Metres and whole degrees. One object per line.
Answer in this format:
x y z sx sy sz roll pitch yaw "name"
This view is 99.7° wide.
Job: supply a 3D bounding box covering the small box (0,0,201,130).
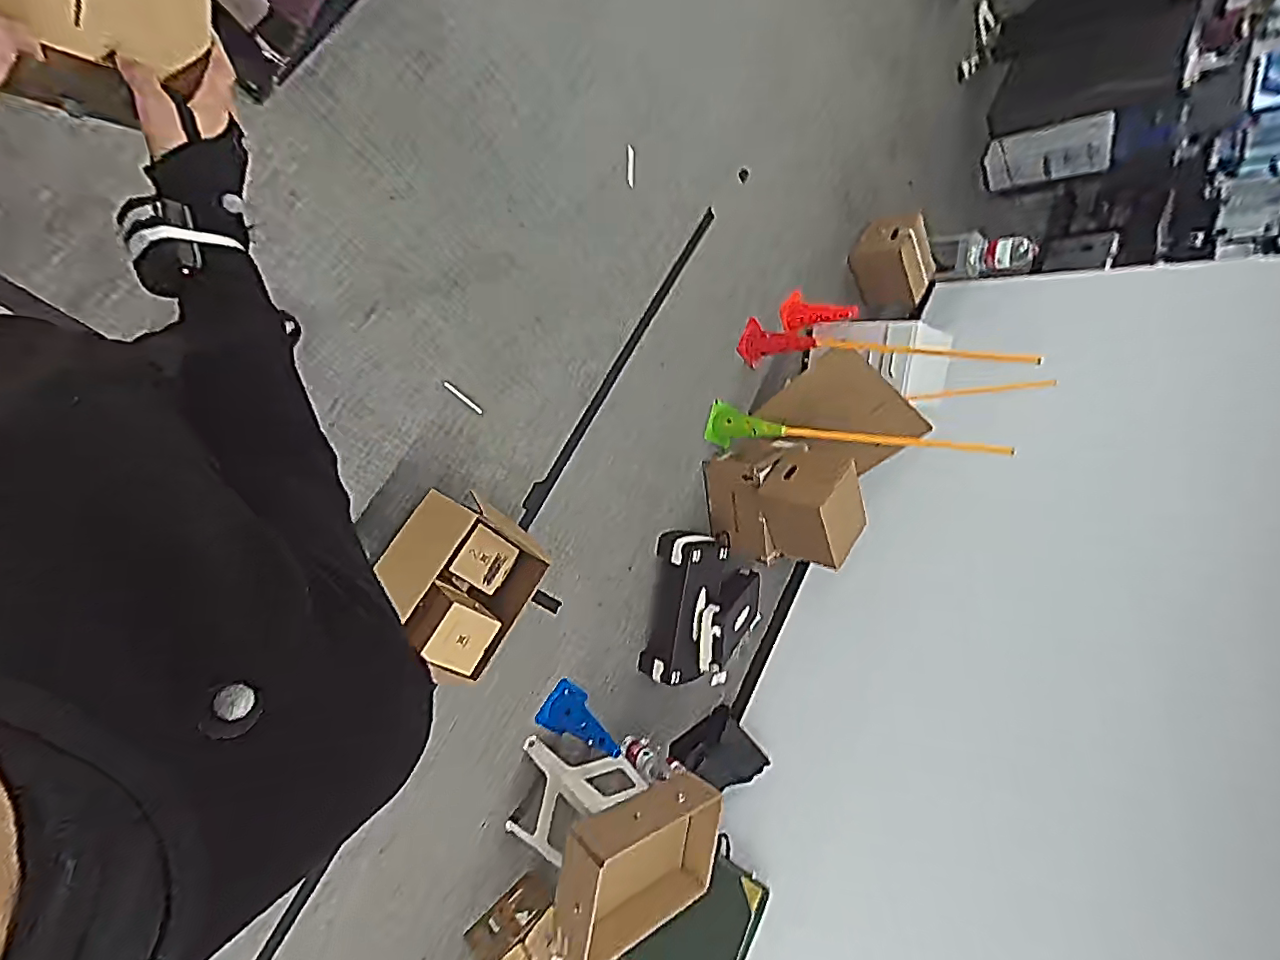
-0.502 -0.441 0.465 0.168 0.176 0.179 -8 107 -45 "small box"
